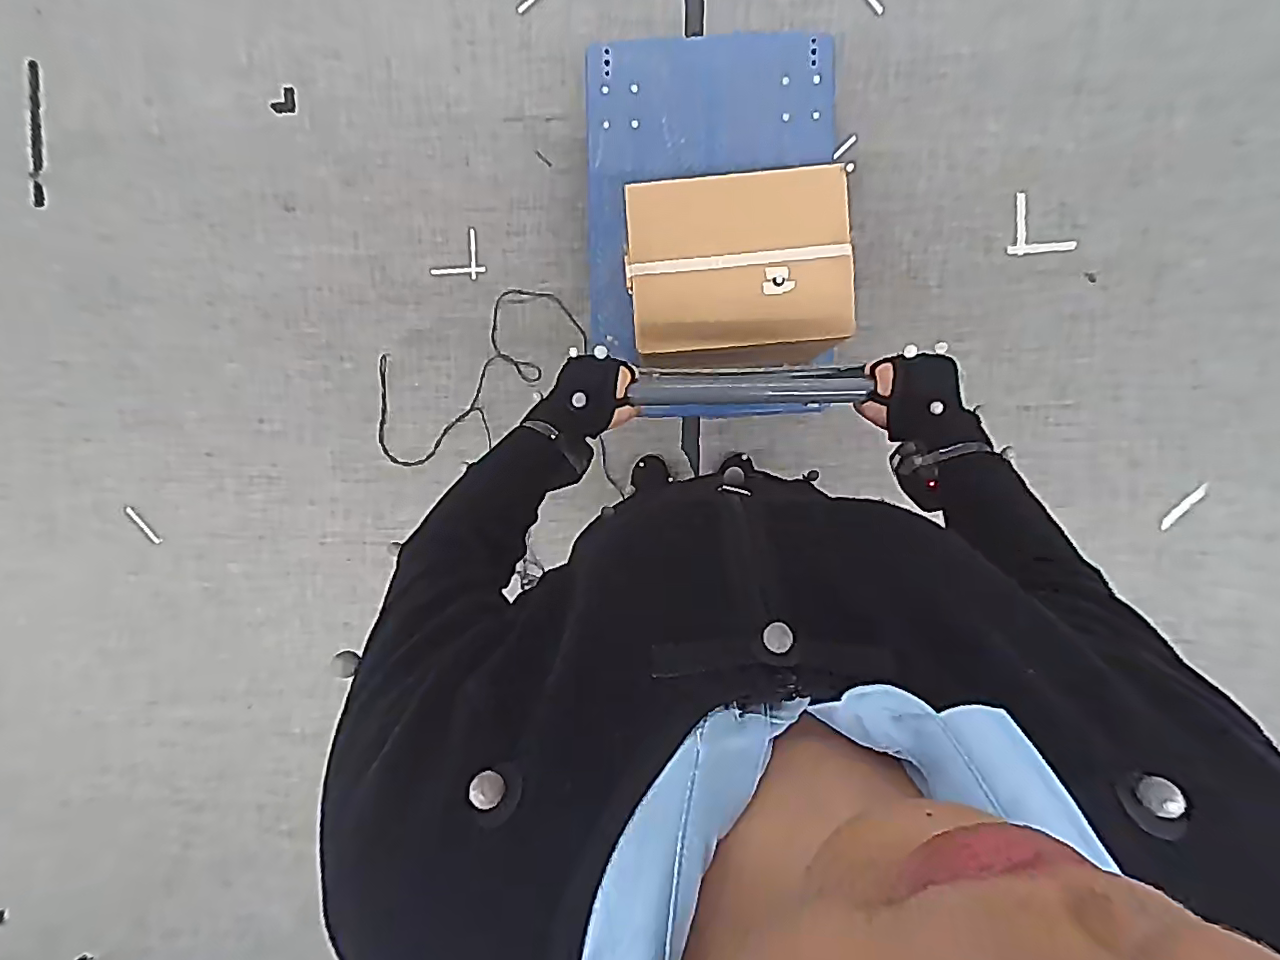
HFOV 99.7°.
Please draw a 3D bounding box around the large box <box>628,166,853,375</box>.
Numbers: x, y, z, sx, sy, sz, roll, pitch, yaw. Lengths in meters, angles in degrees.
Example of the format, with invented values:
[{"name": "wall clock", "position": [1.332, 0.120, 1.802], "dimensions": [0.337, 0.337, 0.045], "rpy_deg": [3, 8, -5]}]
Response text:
[{"name": "large box", "position": [0.193, -0.417, 1.157], "dimensions": [0.408, 0.320, 0.320], "rpy_deg": [-4, 94, 2]}]
